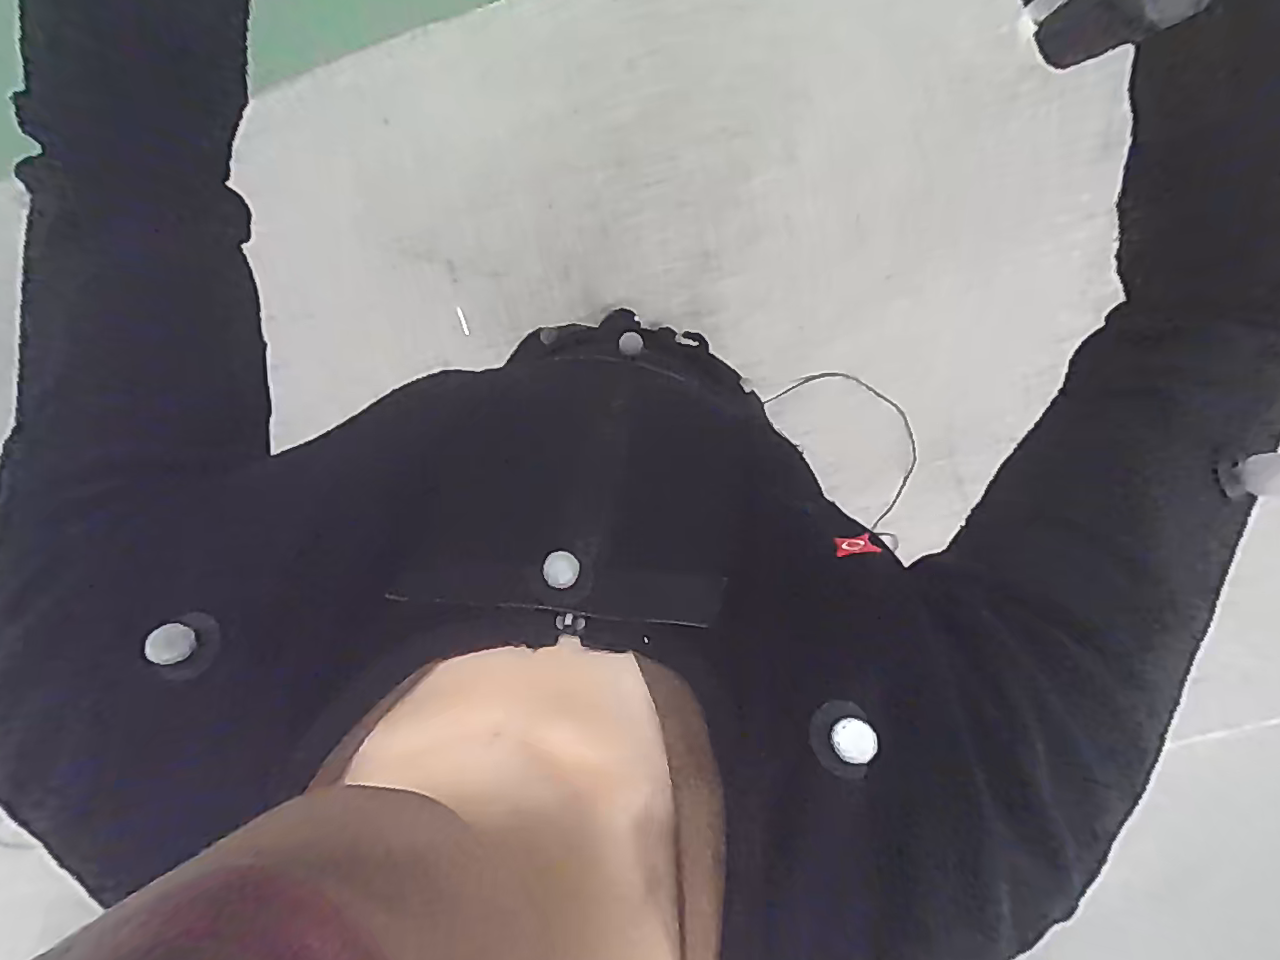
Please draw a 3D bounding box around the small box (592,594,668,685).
[{"bbox_3d":[-0.025,0.457,1.570,0.179,0.176,0.168,-18,107,5],"label":"small box"}]
